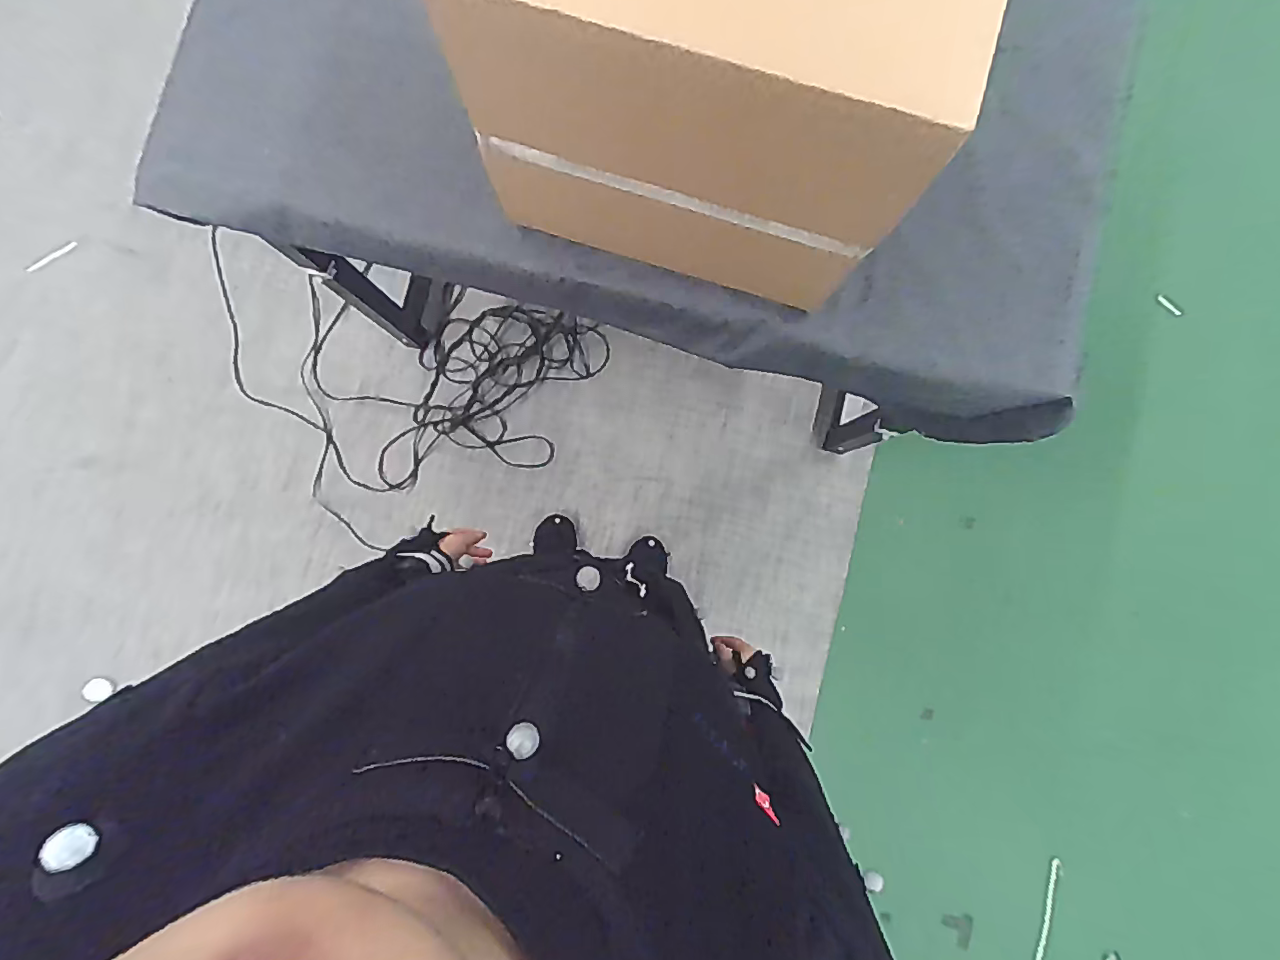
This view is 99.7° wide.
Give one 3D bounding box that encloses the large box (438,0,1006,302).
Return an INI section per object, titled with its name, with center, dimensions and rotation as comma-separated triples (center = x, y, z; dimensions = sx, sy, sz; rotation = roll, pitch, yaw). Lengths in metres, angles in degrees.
[large box]
center = 0.080, -0.424, 0.540
dimensions = 0.408, 0.320, 0.320
rotation = 15, 84, 0
